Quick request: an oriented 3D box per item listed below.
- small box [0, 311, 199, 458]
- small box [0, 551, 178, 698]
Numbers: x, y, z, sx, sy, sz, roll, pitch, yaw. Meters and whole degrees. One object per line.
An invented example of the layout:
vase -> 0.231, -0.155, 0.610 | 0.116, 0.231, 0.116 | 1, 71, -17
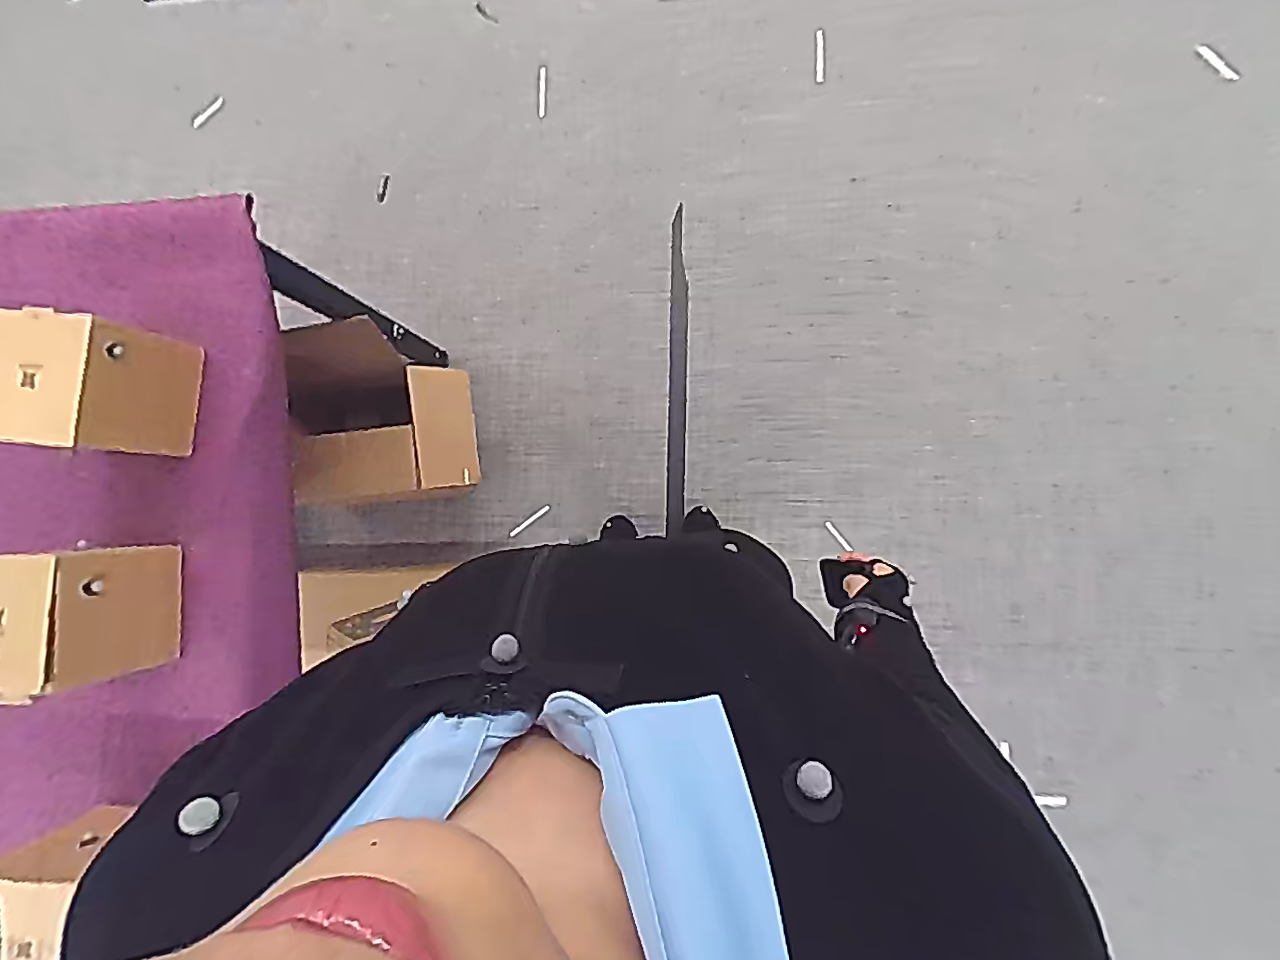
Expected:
small box -> -0.785, -0.127, 0.777 | 0.168, 0.176, 0.179 | 5, 87, 6
small box -> -0.798, 0.191, 0.760 | 0.168, 0.176, 0.179 | -2, 87, 8
